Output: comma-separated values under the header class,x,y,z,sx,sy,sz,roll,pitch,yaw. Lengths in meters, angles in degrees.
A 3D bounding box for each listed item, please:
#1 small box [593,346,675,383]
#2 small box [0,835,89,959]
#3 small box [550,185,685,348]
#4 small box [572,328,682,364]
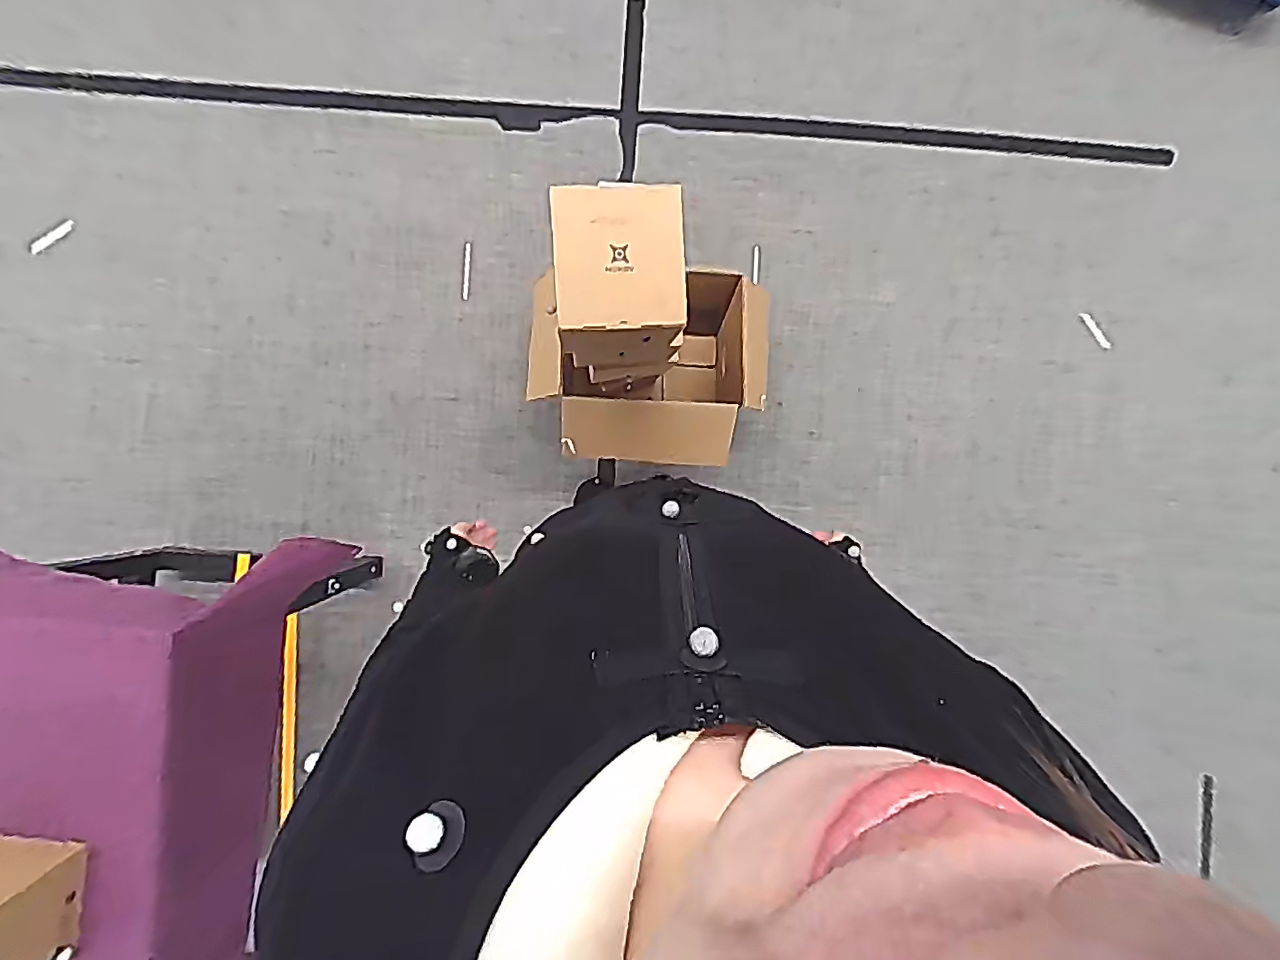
class,x,y,z,sx,sy,sz,roll,pitch,yaw
small box,-0.035,-0.331,1.241,0.179,0.176,0.168,-19,95,-5
small box,-0.841,0.570,0.660,0.179,0.176,0.168,7,90,-2
small box,-0.033,-0.282,0.749,0.168,0.176,0.179,-3,94,-6
small box,-0.032,-0.292,0.913,0.179,0.176,0.168,-4,95,-6
